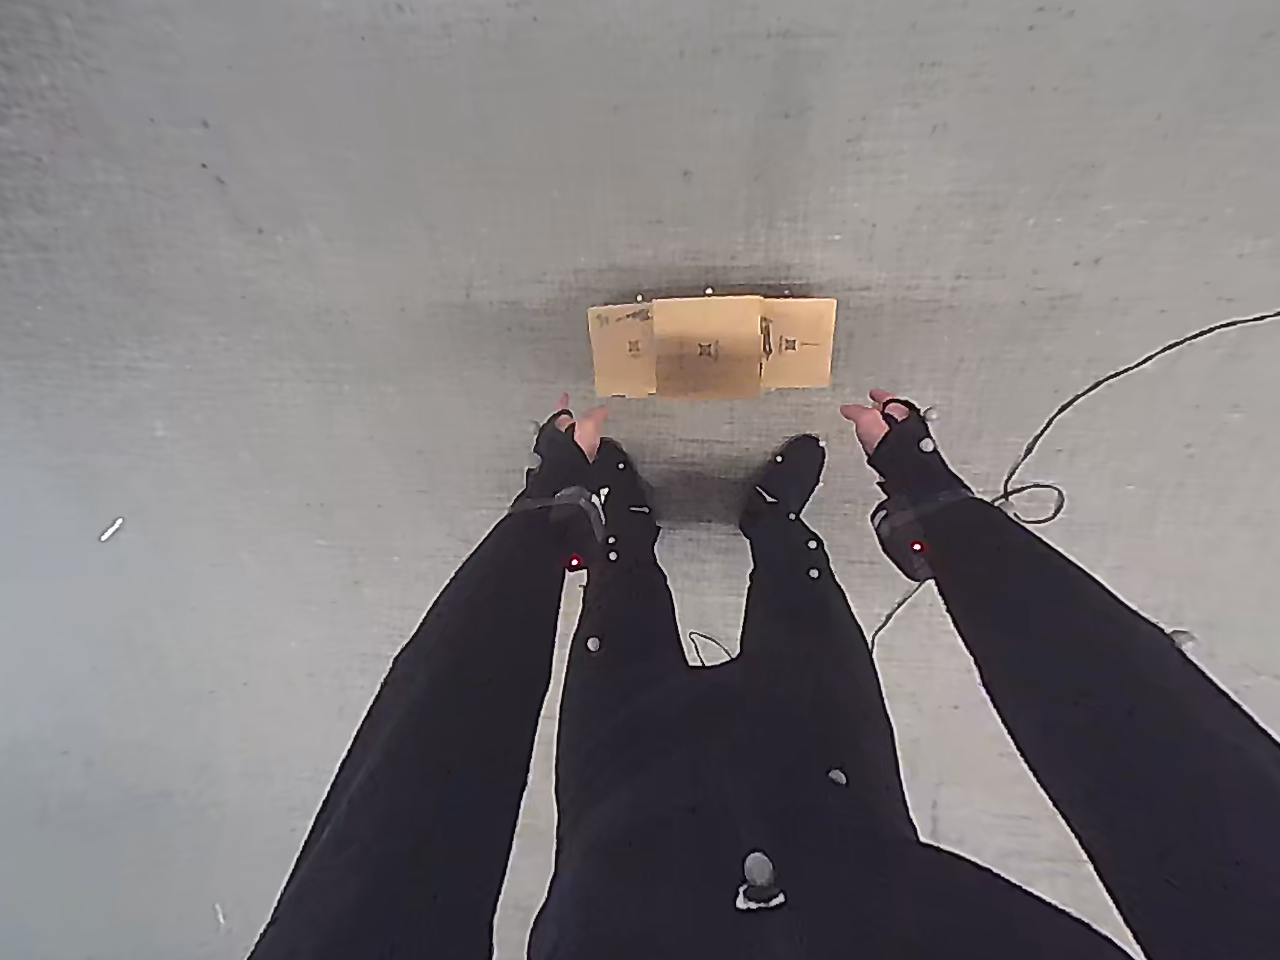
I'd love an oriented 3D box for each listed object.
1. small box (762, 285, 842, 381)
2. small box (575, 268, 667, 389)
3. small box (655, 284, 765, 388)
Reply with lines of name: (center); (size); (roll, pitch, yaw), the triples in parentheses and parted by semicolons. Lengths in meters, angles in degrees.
small box: (0.285, -0.302, 1.091); (0.179, 0.176, 0.168); (5, 111, 4)
small box: (-0.002, -0.309, 1.110); (0.179, 0.176, 0.168); (-31, 101, 16)
small box: (0.120, -0.255, 0.952); (0.179, 0.176, 0.168); (0, 107, 7)
